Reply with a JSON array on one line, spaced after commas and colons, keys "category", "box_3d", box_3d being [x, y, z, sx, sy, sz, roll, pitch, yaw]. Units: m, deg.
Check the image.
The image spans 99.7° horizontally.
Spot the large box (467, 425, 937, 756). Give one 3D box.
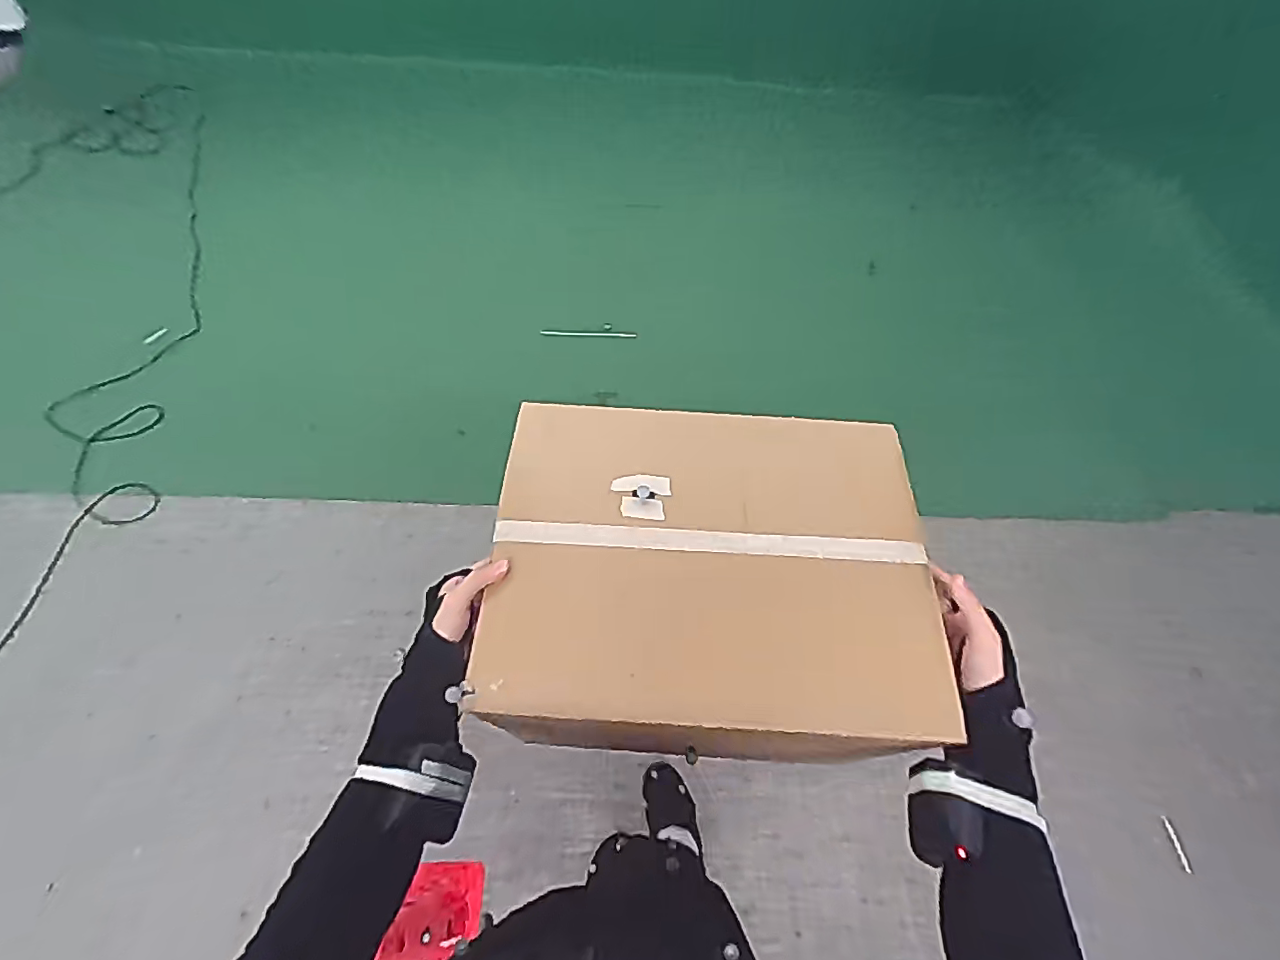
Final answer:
[{"category": "large box", "box_3d": [0.058, 0.151, 0.654, 0.408, 0.320, 0.320, 3, 59, 1]}]
